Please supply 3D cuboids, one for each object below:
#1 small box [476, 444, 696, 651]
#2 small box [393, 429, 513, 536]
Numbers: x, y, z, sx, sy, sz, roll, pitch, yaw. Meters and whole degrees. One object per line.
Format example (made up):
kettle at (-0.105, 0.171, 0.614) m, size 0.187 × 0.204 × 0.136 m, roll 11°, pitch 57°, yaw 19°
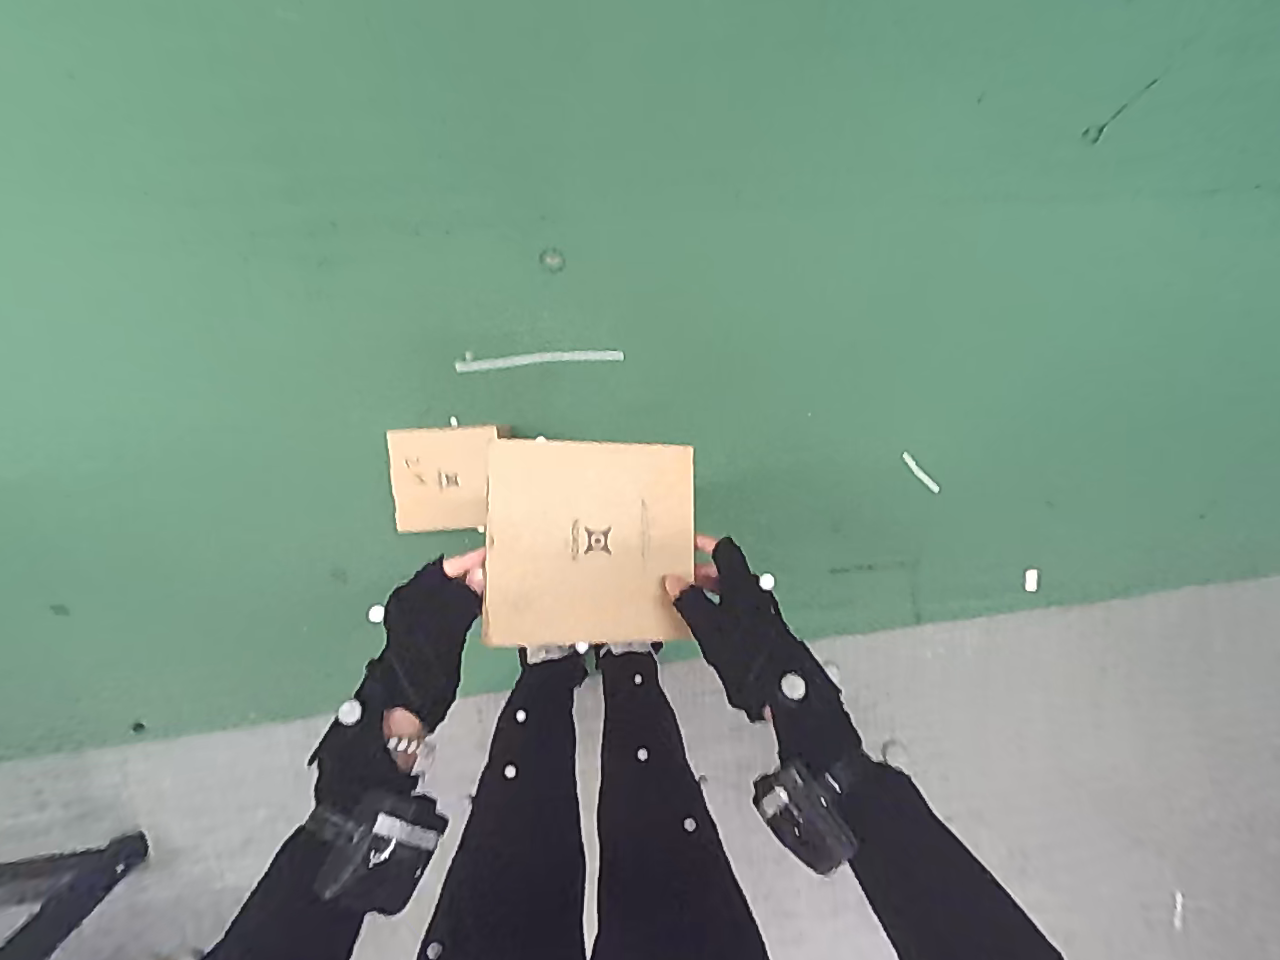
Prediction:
small box at (-0.052, 0.063, 0.515) m, size 0.179 × 0.176 × 0.168 m, roll 1°, pitch 85°, yaw -10°
small box at (-0.319, -0.003, 0.967) m, size 0.179 × 0.176 × 0.168 m, roll -3°, pitch 97°, yaw -5°
